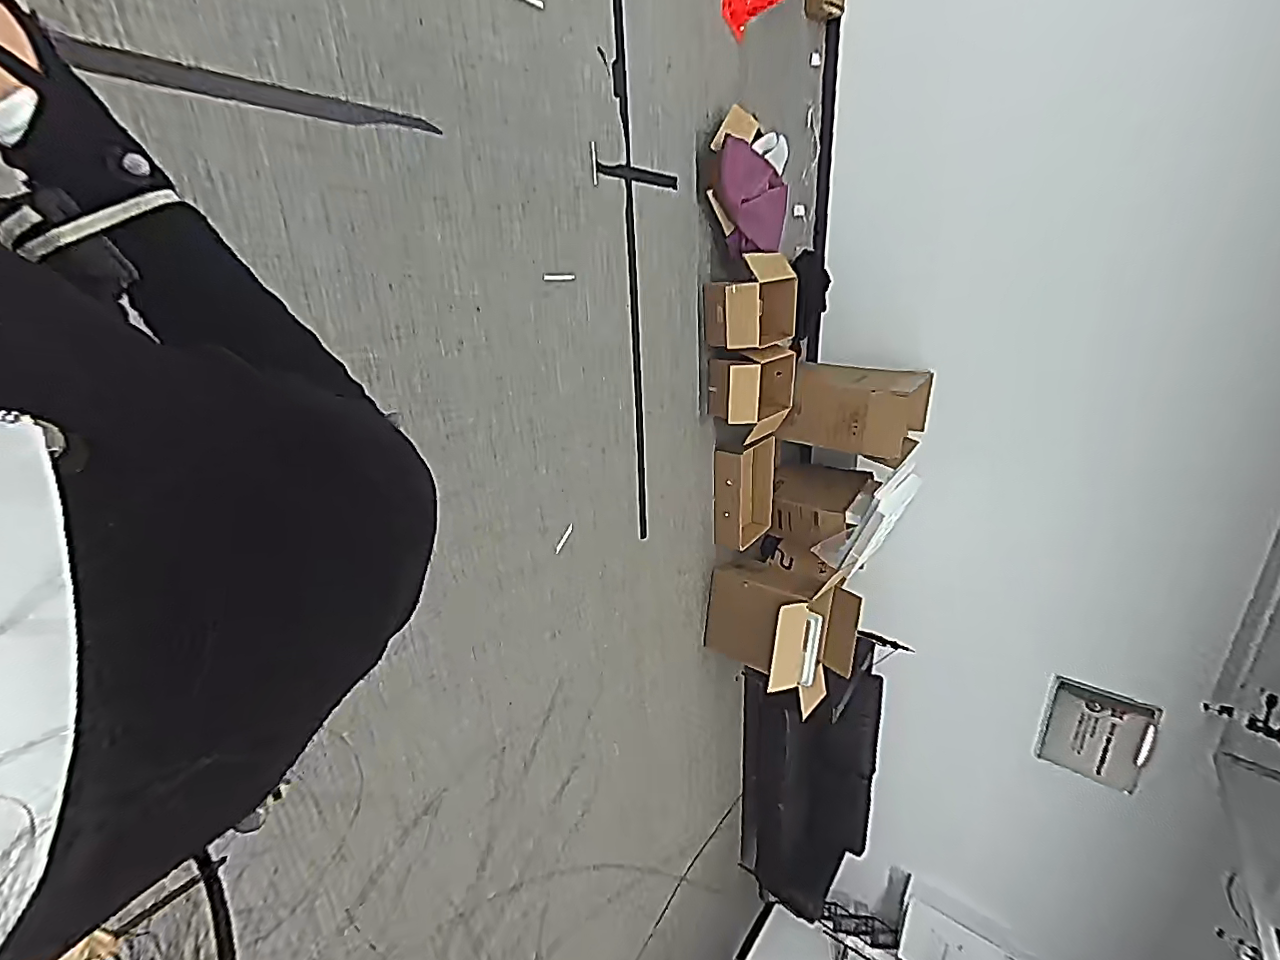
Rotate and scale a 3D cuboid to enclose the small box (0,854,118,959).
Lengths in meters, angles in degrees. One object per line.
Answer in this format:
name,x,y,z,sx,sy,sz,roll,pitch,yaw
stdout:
small box,-1.144,0.857,1.020,0.168,0.176,0.179,-28,122,-45
